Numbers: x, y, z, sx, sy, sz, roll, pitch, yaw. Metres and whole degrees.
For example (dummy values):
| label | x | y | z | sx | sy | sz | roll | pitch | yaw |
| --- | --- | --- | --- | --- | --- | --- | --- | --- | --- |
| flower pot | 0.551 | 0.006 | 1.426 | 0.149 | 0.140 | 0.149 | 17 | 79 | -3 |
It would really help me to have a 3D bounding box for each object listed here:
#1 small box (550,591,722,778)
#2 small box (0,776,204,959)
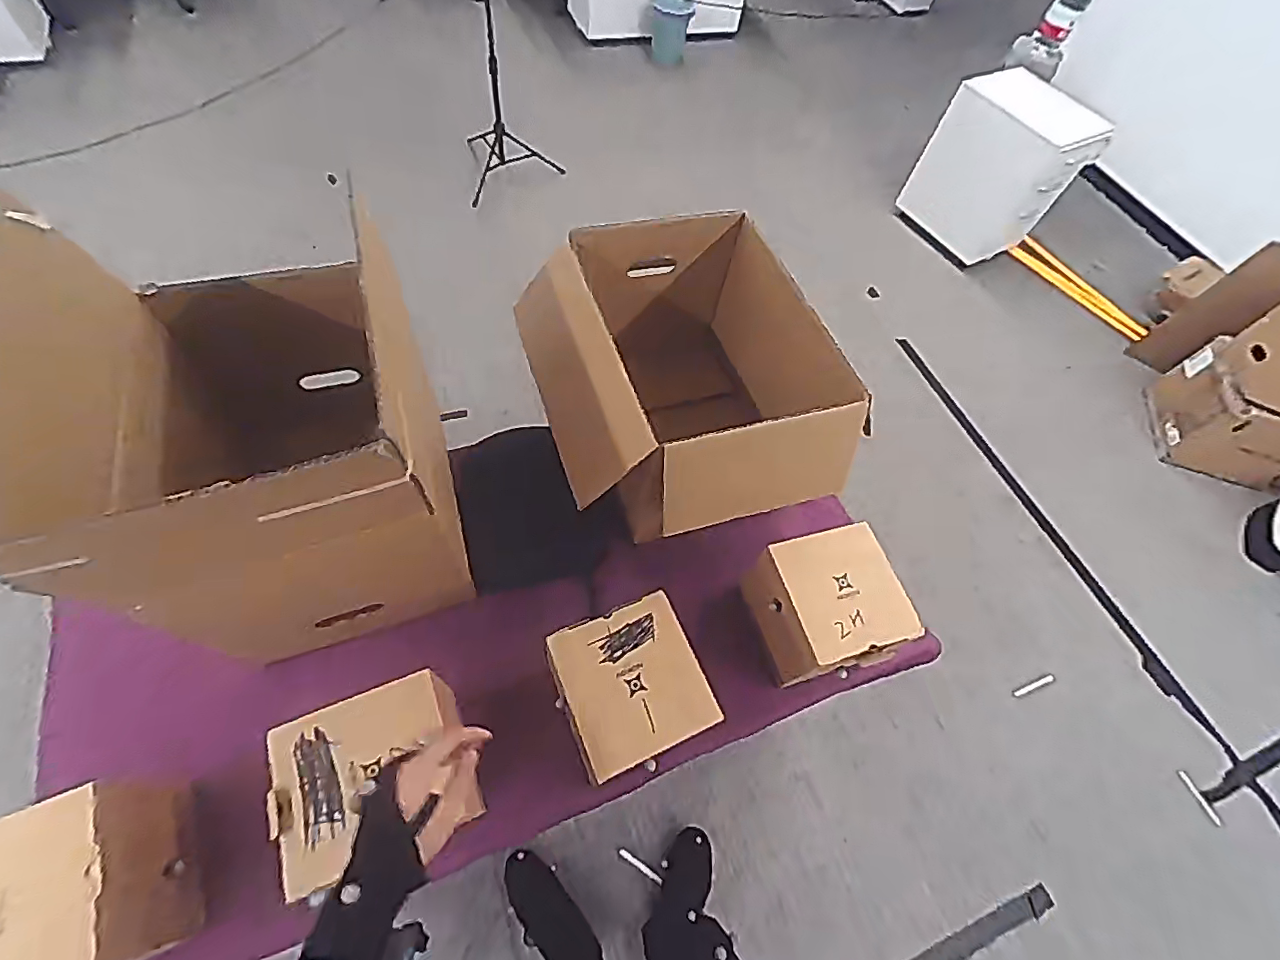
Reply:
| label | x | y | z | sx | sy | sz | roll | pitch | yaw |
| --- | --- | --- | --- | --- | --- | --- | --- | --- | --- |
| small box | -0.017 | 0.278 | 0.725 | 0.168 | 0.176 | 0.179 | -18 | 66 | -16 |
| small box | -0.603 | 0.434 | 0.561 | 0.179 | 0.176 | 0.168 | -19 | 65 | -19 |
